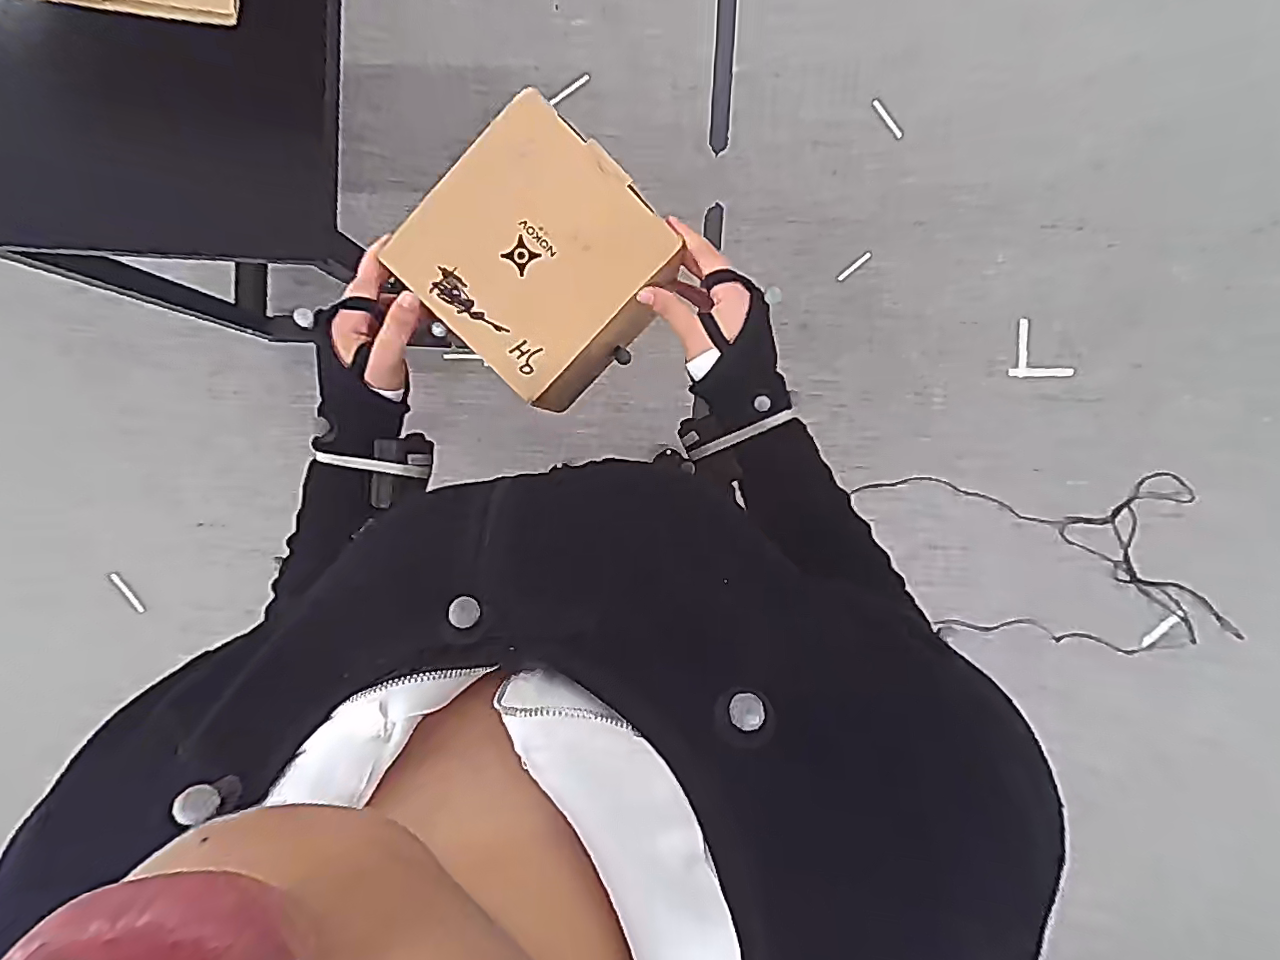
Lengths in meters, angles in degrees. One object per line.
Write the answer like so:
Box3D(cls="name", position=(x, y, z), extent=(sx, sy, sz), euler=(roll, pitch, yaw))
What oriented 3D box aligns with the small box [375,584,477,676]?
Box3D(cls="small box", position=(-0.495, 0.347, 1.277), extent=(0.179, 0.176, 0.168), euler=(-4, 91, 2))
